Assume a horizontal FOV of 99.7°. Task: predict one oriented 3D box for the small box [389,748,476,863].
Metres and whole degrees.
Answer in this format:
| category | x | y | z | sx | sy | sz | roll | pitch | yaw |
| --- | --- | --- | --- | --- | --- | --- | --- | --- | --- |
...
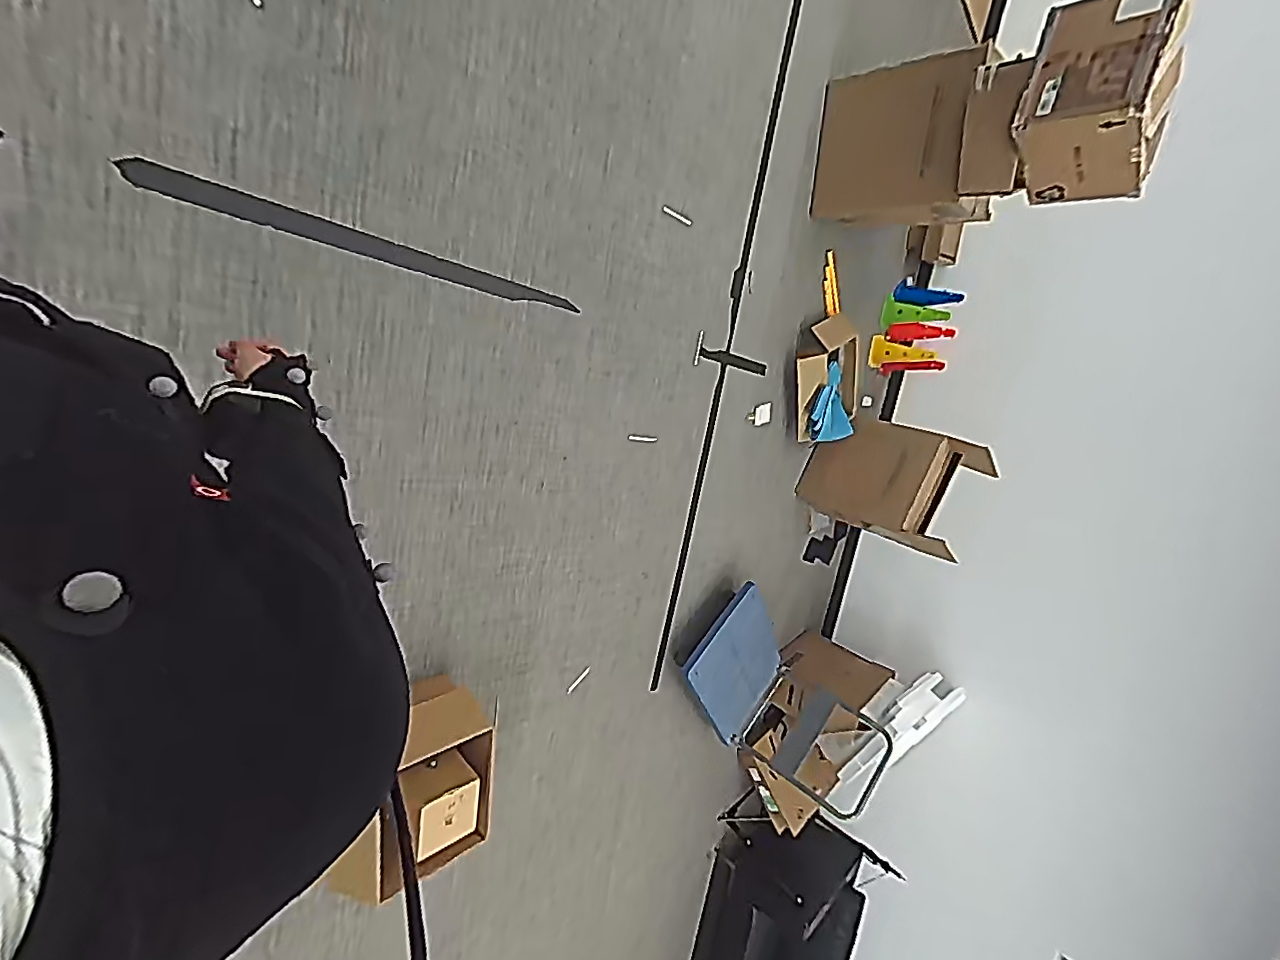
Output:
| category | x | y | z | sx | sy | sz | roll | pitch | yaw |
| --- | --- | --- | --- | --- | --- | --- | --- | --- | --- |
| small box | -0.571 | 0.879 | 1.479 | 0.168 | 0.176 | 0.179 | -4 | 108 | -47 |
